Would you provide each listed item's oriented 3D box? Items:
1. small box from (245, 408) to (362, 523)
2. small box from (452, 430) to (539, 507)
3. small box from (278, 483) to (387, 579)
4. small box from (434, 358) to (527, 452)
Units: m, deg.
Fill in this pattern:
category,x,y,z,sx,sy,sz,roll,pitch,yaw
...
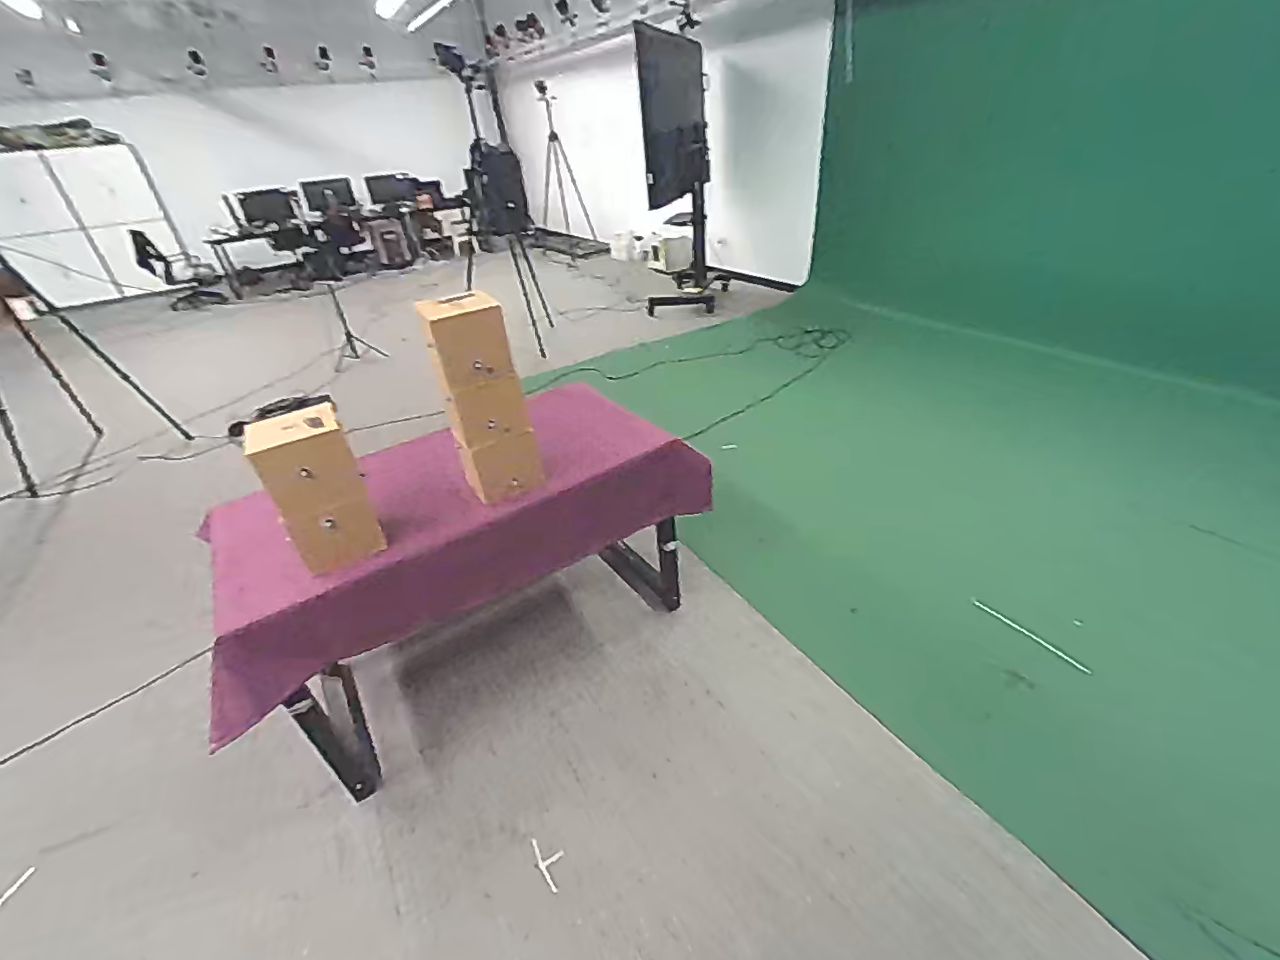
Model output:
category,x,y,z,sx,sy,sz,roll,pitch,yaw
small box,-0.741,-0.034,1.202,0.179,0.176,0.168,-24,38,-23
small box,-0.387,-0.054,1.473,0.179,0.176,0.168,-23,36,-25
small box,-0.730,0.105,1.287,0.179,0.176,0.168,-22,37,-24
small box,-0.409,-0.193,1.391,0.168,0.176,0.179,-23,38,-24
